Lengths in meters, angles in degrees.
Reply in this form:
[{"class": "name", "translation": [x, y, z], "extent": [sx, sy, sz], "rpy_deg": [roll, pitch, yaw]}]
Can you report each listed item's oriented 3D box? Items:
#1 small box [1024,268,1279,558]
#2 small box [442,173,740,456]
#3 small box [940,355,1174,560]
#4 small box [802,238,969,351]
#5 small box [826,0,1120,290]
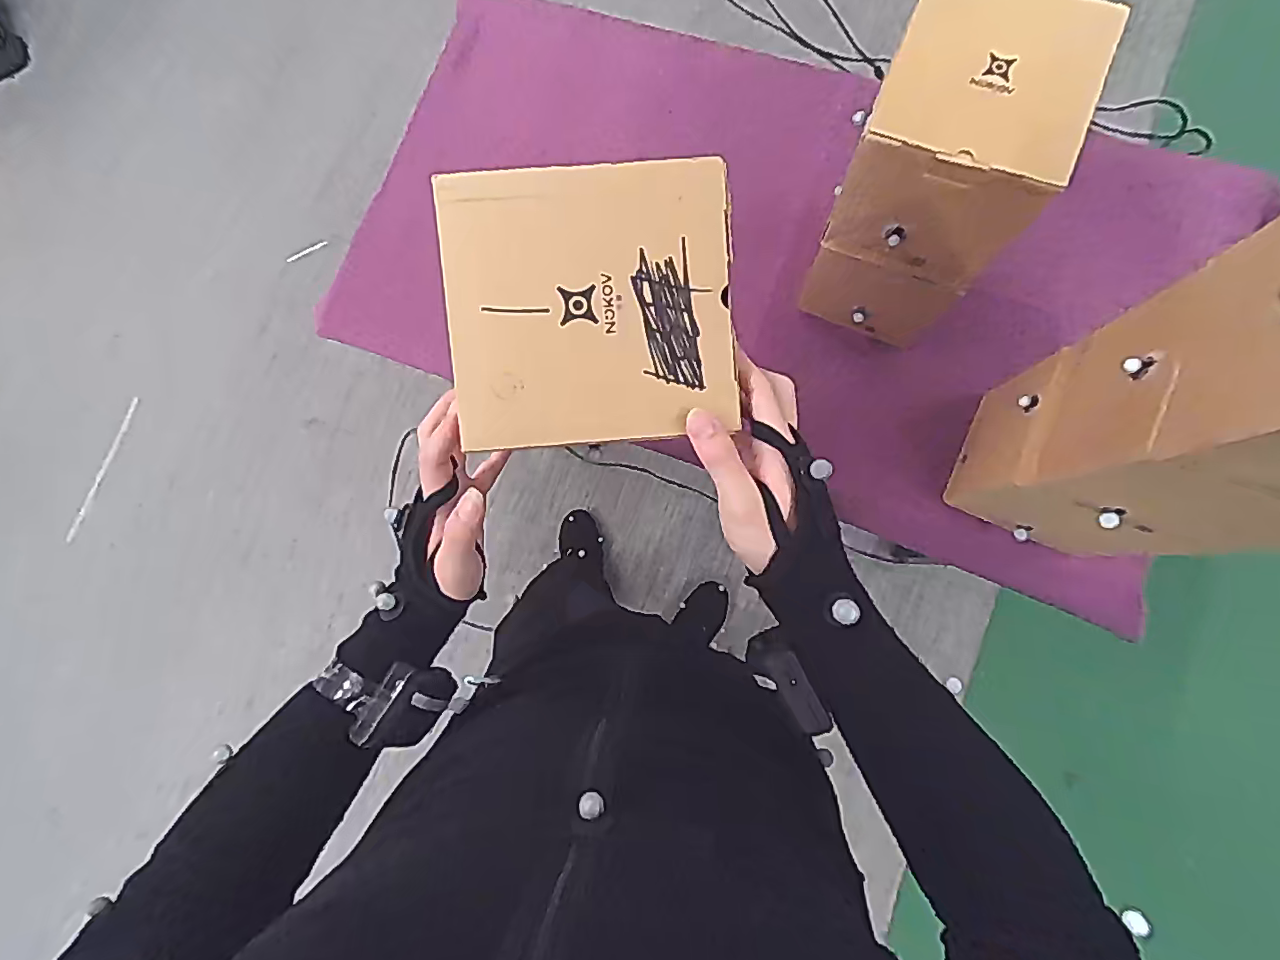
[{"class": "small box", "translation": [0.489, -0.044, 0.478], "extent": [0.168, 0.176, 0.179], "rpy_deg": [25, 84, 10]}, {"class": "small box", "translation": [-0.031, -0.108, 0.411], "extent": [0.179, 0.176, 0.168], "rpy_deg": [-4, 94, -2]}, {"class": "small box", "translation": [0.501, -0.016, 0.640], "extent": [0.179, 0.176, 0.168], "rpy_deg": [25, 84, 9]}, {"class": "small box", "translation": [0.327, -0.298, 0.697], "extent": [0.168, 0.176, 0.179], "rpy_deg": [25, 85, 9]}, {"class": "small box", "translation": [0.306, -0.325, 0.538], "extent": [0.168, 0.176, 0.179], "rpy_deg": [22, 86, 8]}]
